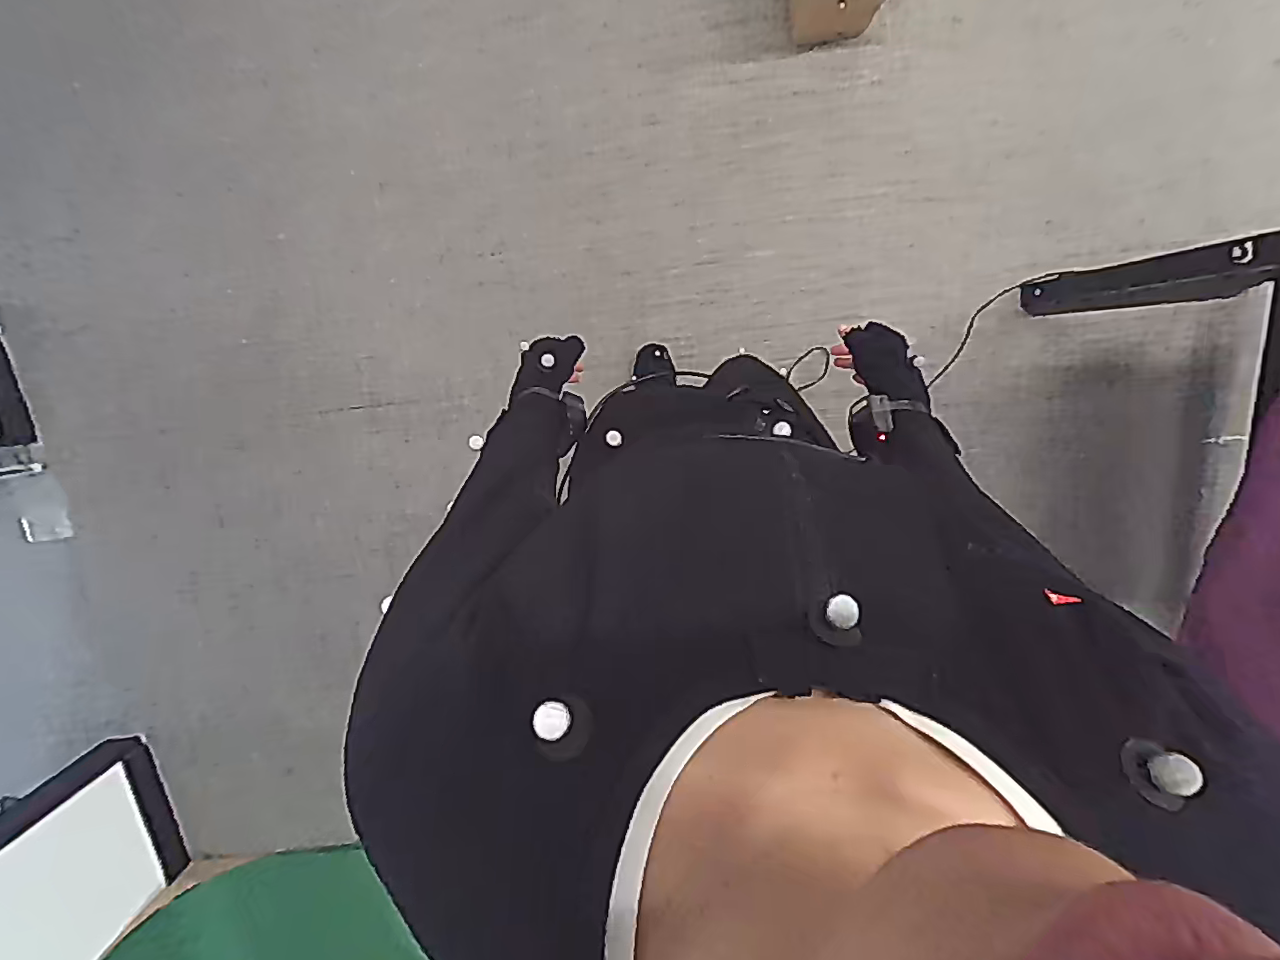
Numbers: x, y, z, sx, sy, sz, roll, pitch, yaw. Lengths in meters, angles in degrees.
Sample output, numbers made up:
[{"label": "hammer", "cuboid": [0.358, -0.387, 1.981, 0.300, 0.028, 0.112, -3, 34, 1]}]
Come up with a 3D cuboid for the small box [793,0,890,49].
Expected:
[{"label": "small box", "cuboid": [0.429, -1.079, 1.160, 0.168, 0.176, 0.179, -6, 101, 3]}]
